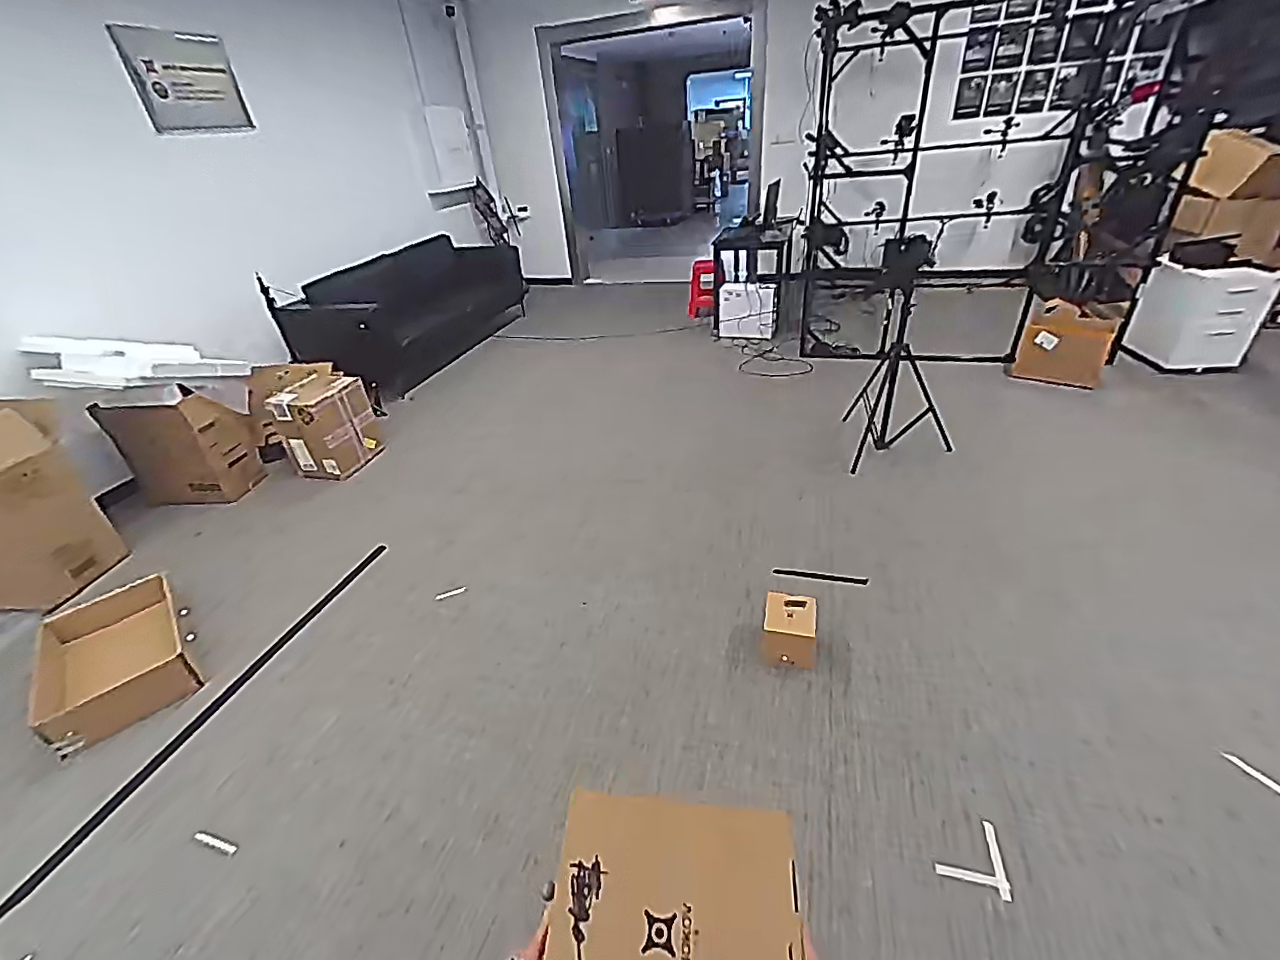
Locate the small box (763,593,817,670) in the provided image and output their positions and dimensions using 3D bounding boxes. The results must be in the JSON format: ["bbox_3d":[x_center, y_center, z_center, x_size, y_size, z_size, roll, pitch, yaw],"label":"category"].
[{"bbox_3d":[0.516,0.521,1.861,0.168,0.176,0.179,4,35,16],"label":"small box"}]

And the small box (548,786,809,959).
[{"bbox_3d":[0.029,0.364,0.429,0.179,0.176,0.168,4,47,6],"label":"small box"}]
